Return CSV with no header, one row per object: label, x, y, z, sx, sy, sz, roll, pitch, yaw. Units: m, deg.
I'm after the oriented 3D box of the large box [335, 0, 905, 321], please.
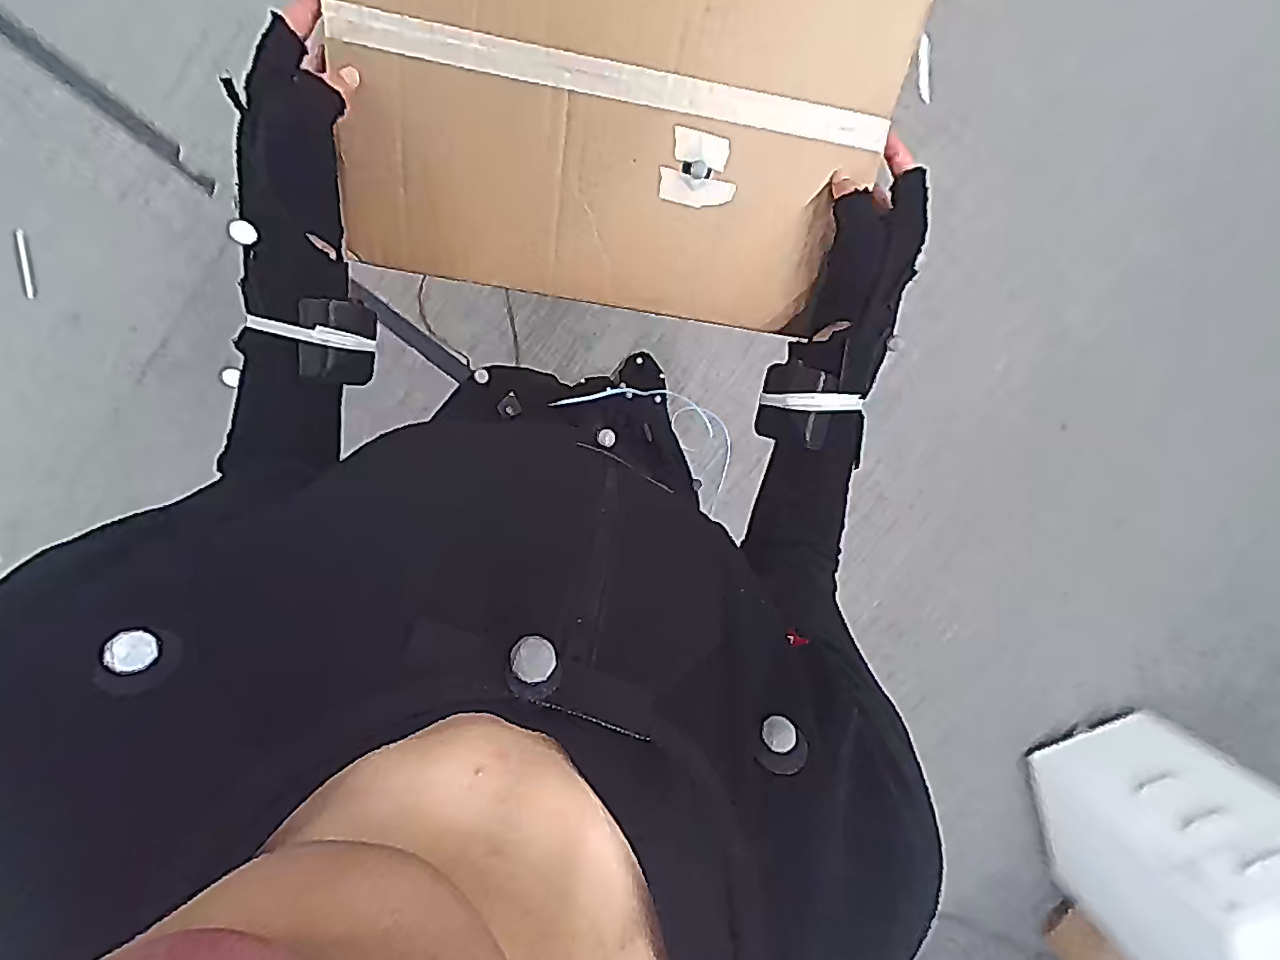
large box,-0.026,-0.366,0.530,0.408,0.320,0.320,6,120,-7
